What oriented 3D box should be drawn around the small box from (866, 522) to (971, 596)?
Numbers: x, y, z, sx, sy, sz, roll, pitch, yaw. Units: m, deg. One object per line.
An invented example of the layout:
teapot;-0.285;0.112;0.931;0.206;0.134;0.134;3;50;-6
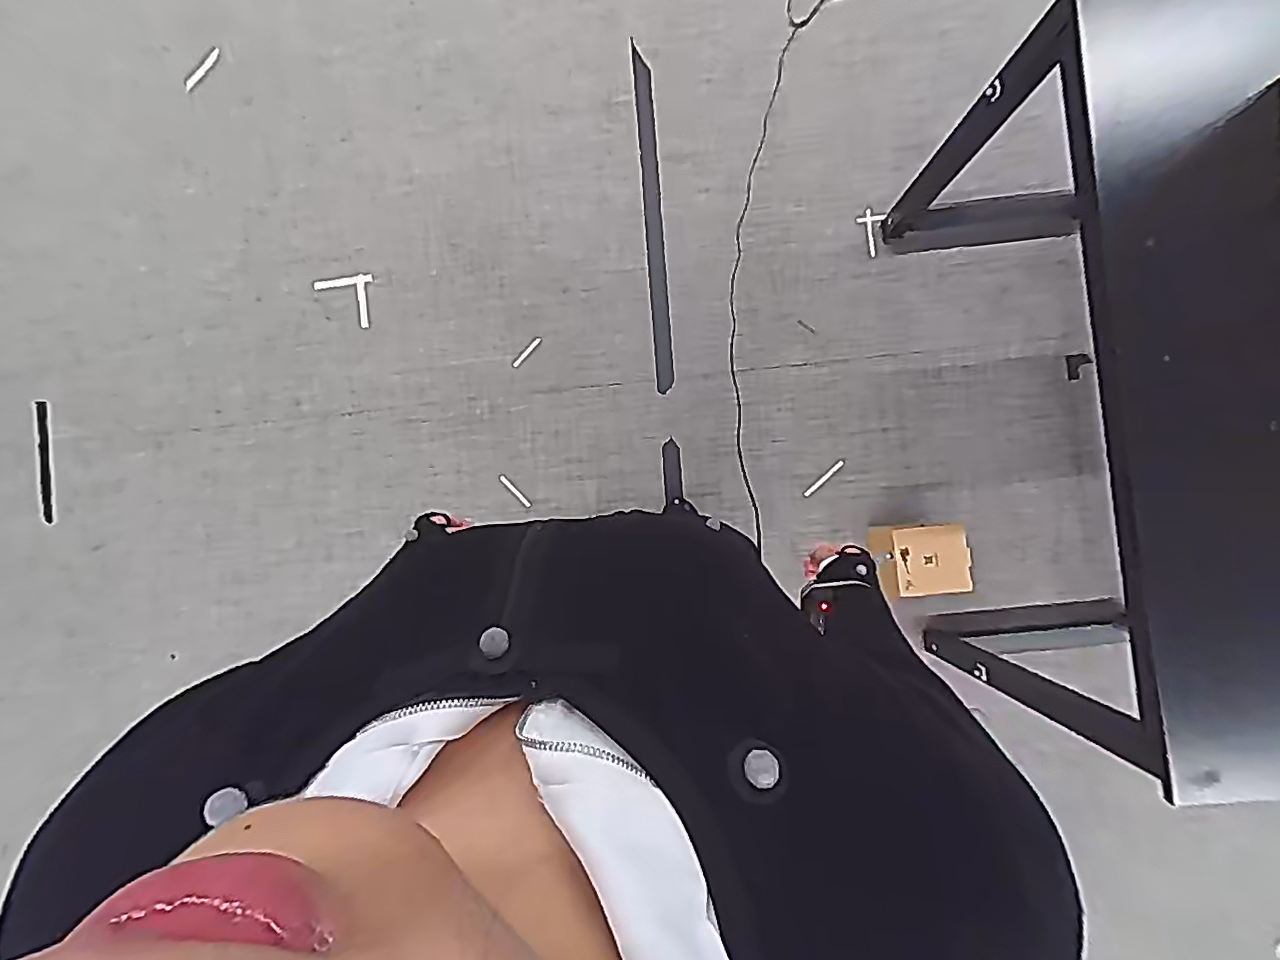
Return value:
small box;0.707;0.197;1.388;0.179;0.176;0.168;-6;86;2
